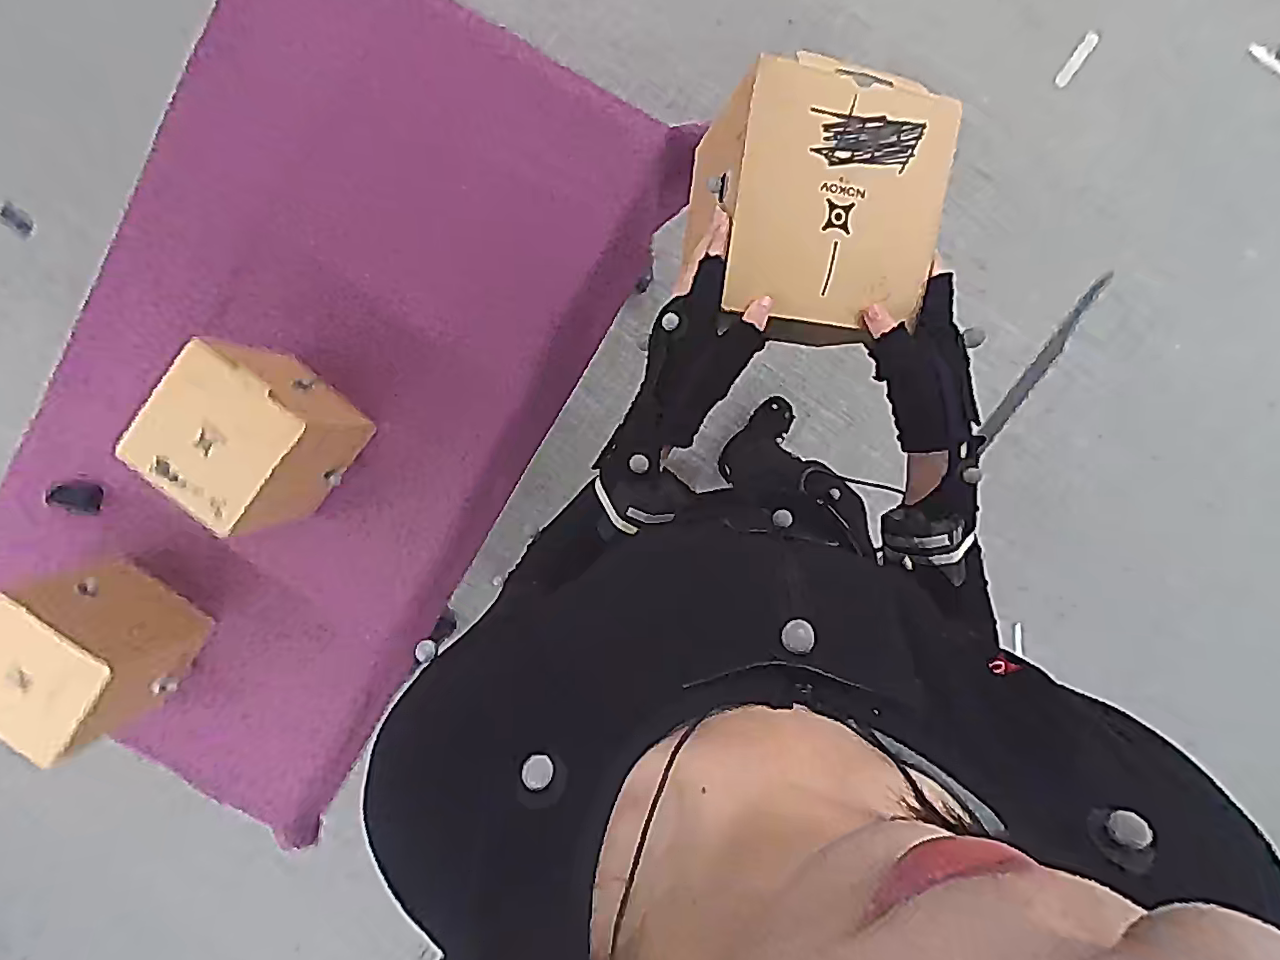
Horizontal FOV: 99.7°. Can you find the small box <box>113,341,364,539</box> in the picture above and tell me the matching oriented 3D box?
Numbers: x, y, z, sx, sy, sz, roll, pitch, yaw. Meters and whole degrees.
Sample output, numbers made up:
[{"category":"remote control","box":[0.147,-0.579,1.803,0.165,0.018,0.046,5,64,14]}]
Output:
[{"category":"small box","box":[-0.502,-0.052,0.711,0.168,0.176,0.179,39,94,-2]}]

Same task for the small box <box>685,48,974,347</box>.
[{"category":"small box","box":[0.145,-0.220,0.477,0.168,0.176,0.179,6,100,-10]}]

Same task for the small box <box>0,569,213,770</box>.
[{"category":"small box","box":[-0.759,0.242,0.742,0.179,0.176,0.168,35,96,-3]}]
